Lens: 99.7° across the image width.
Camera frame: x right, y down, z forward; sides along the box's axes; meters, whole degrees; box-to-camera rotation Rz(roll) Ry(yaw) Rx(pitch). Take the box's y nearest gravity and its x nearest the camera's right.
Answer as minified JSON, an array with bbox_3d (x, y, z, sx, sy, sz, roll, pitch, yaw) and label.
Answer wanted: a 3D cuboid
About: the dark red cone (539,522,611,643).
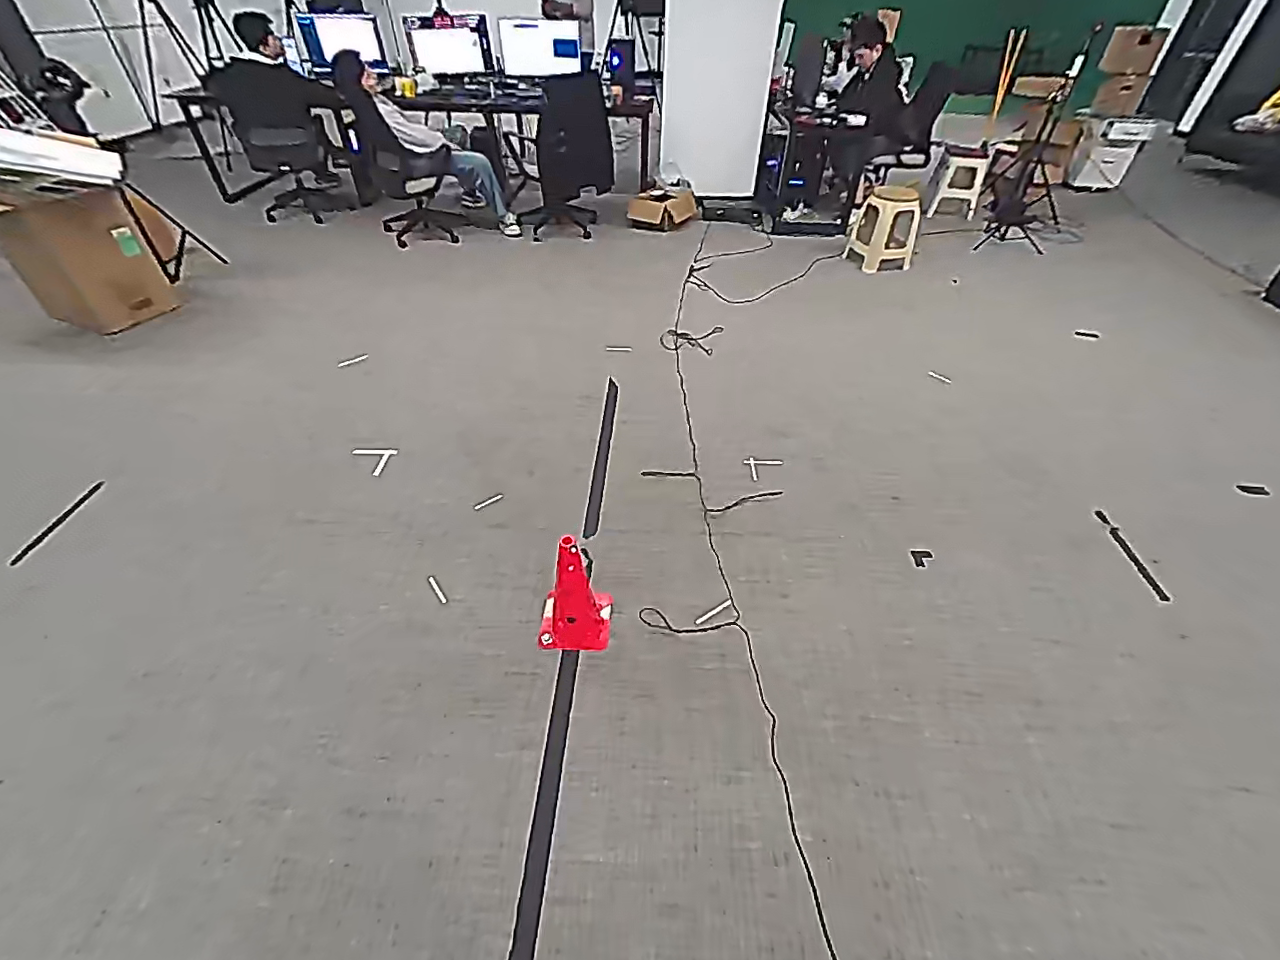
[{"bbox_3d":[-0.181,0.267,1.480,0.201,0.394,0.202,3,42,0],"label":"dark red cone"}]
